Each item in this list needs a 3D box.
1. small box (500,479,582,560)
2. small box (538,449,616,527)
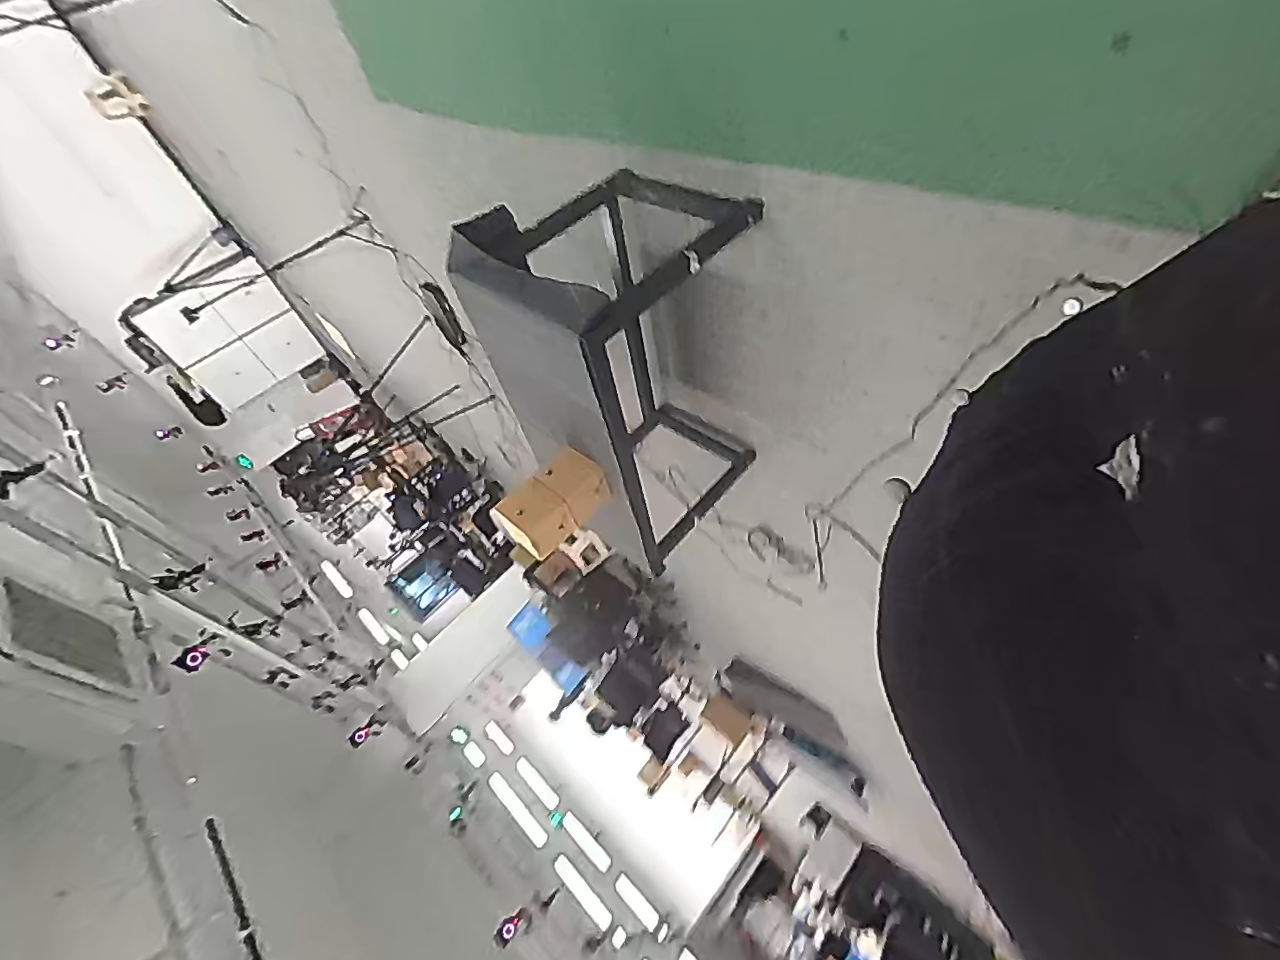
[{"bbox_3d":[-0.320,0.123,1.775,0.179,0.176,0.168,32,154,33],"label":"small box"},{"bbox_3d":[-0.209,0.020,1.834,0.179,0.176,0.168,33,155,33],"label":"small box"}]
